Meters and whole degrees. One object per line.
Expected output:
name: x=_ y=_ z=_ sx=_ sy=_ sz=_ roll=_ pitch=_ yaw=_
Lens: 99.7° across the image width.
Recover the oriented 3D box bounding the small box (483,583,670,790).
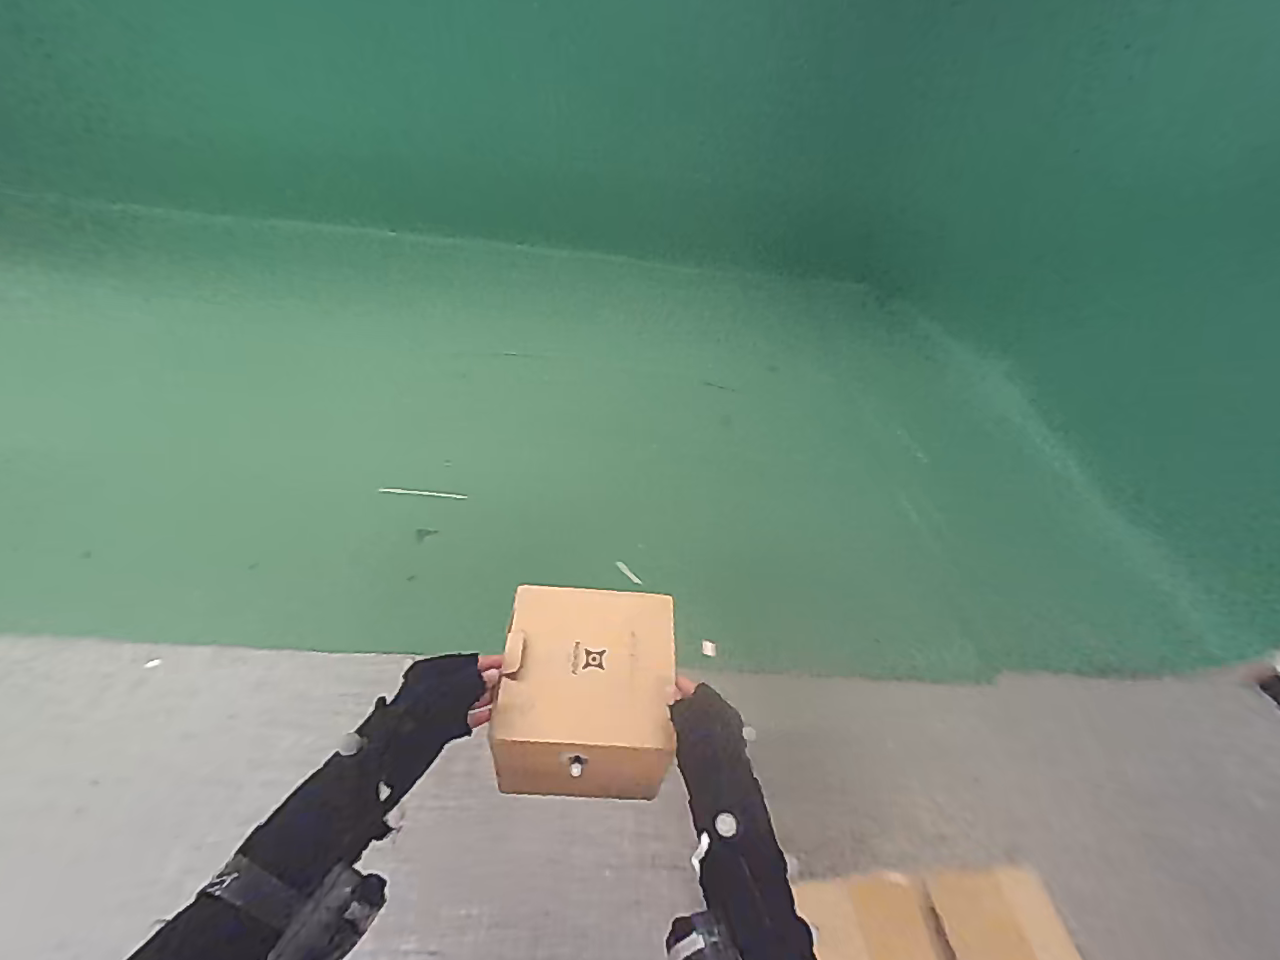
small box: x=-0.068 y=0.236 z=0.610 sx=0.179 sy=0.176 sz=0.168 roll=5 pitch=45 yaw=-6
